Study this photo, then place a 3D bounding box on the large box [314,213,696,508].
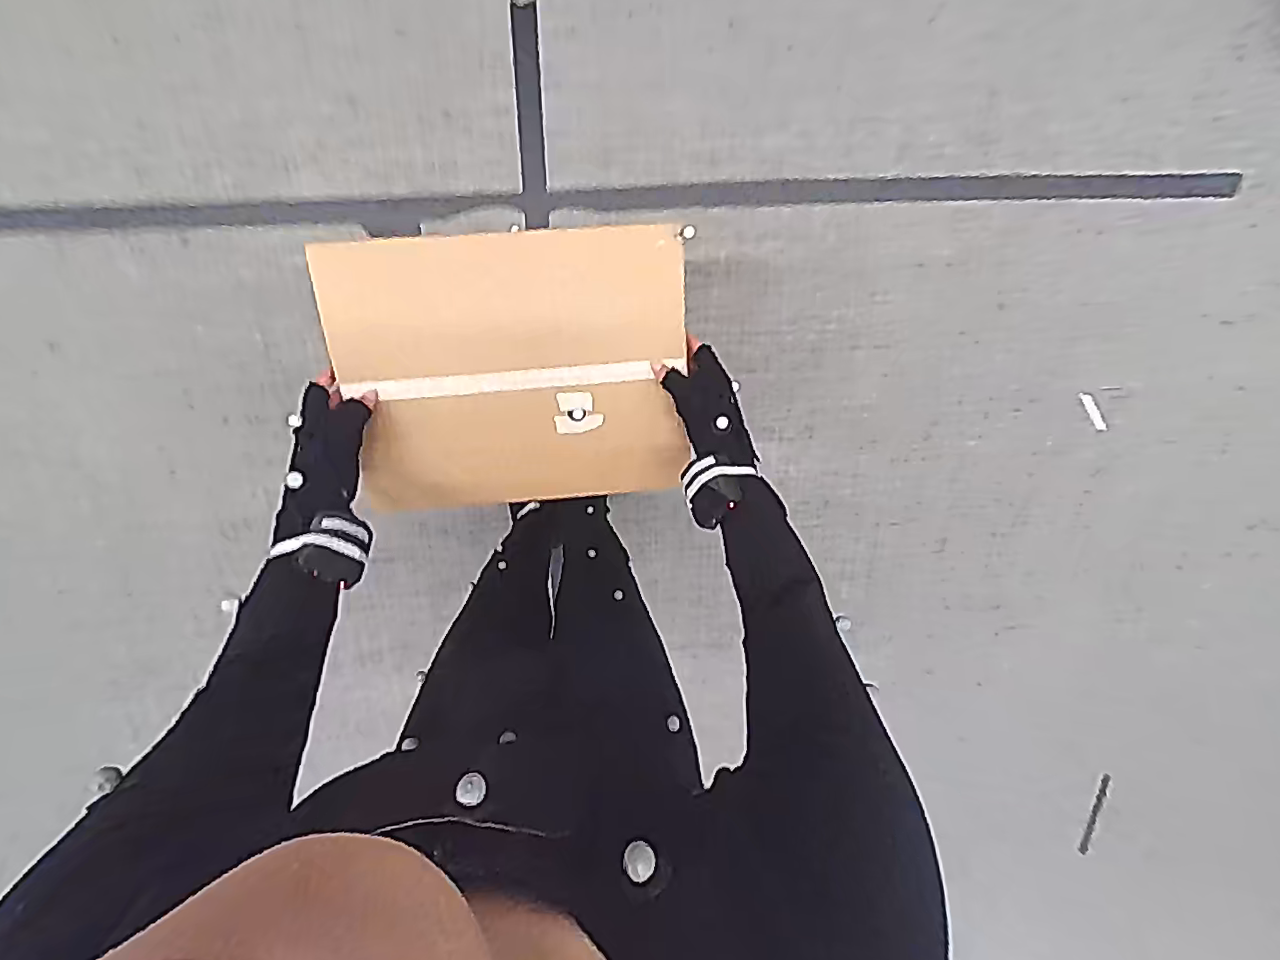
[{"bbox_3d":[-0.151,-0.177,0.768,0.408,0.320,0.320,-5,111,-4],"label":"large box"}]
